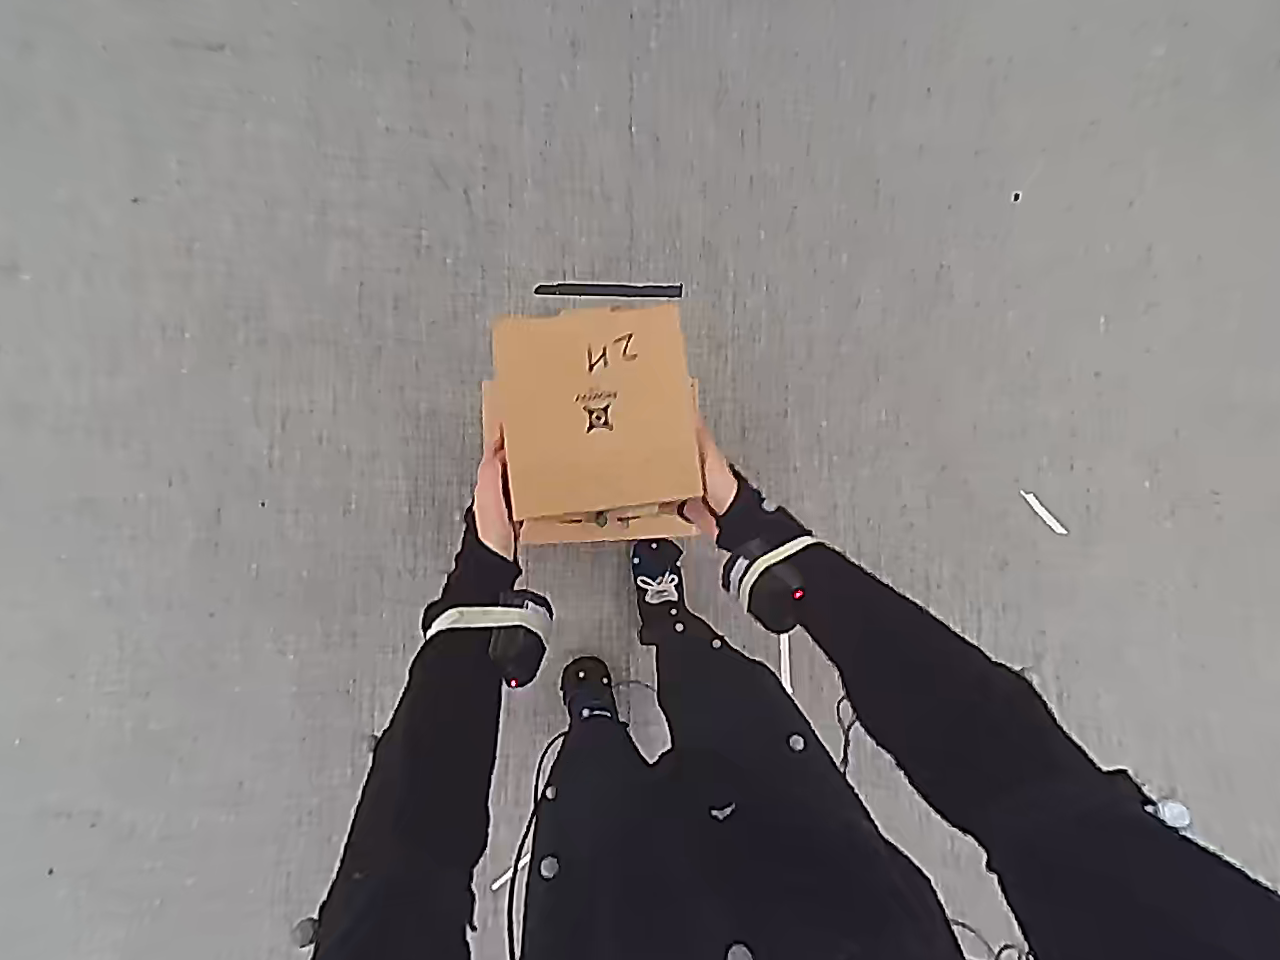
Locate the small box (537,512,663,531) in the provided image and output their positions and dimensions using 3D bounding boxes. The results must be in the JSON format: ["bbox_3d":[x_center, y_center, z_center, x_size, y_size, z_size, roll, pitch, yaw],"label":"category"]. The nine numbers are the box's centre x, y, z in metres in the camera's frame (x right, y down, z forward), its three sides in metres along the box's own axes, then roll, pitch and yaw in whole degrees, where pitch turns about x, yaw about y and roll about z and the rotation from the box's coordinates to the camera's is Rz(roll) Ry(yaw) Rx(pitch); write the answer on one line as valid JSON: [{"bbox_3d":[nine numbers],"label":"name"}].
[{"bbox_3d":[-0.061,-0.025,0.763,0.168,0.176,0.179,-3,87,-6],"label":"small box"}]

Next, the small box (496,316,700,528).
[{"bbox_3d":[-0.045,-0.048,0.553,0.168,0.176,0.179,-7,86,-8],"label":"small box"}]
